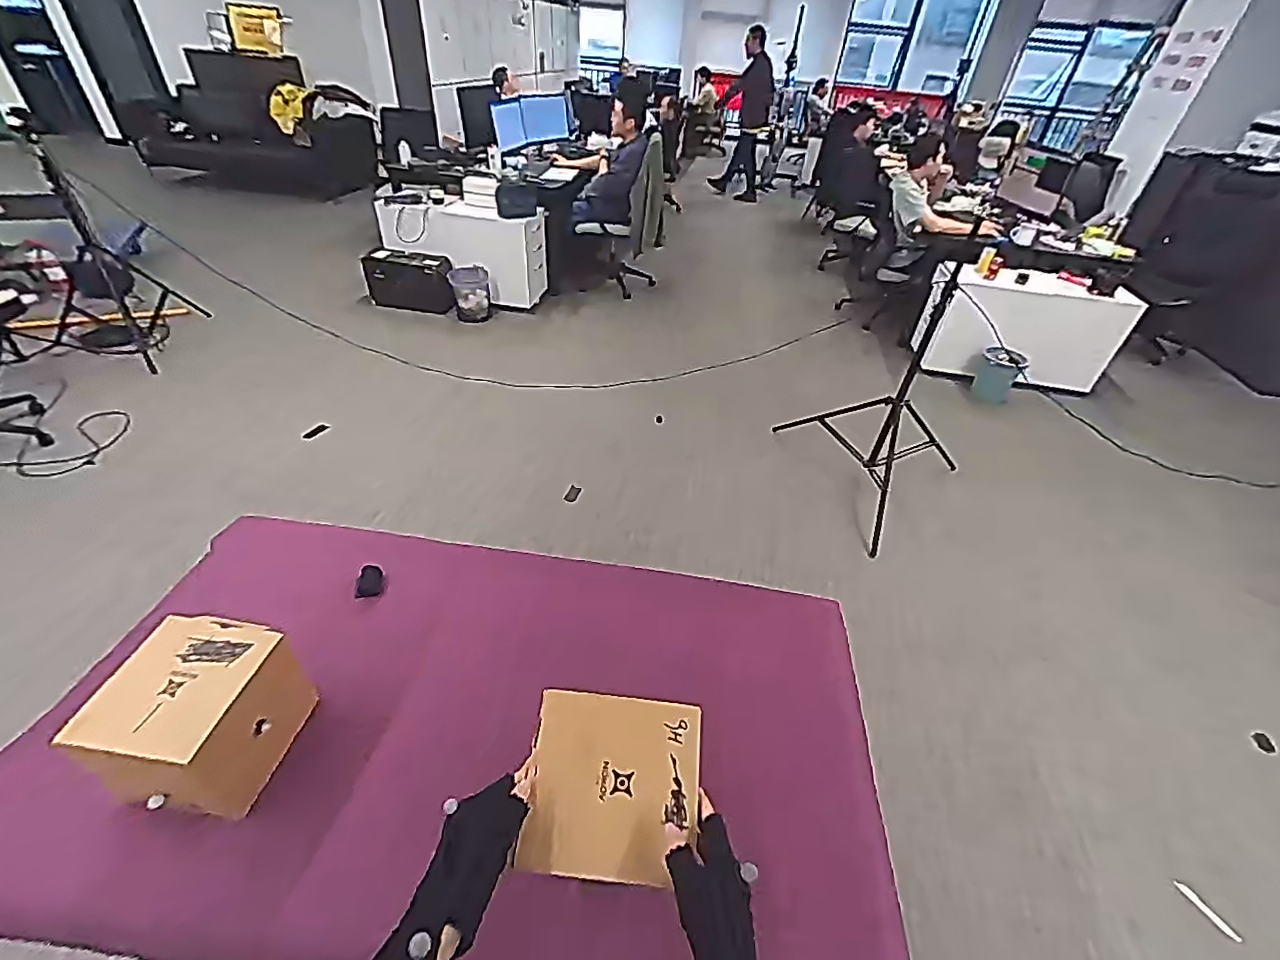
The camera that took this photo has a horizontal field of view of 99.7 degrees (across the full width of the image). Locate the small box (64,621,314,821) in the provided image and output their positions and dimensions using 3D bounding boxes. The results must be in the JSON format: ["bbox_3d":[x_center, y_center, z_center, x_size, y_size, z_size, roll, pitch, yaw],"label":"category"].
[{"bbox_3d":[-0.573,0.320,0.724,0.168,0.176,0.179,8,40,3],"label":"small box"}]

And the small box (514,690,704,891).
[{"bbox_3d":[-0.028,0.351,0.608,0.179,0.176,0.168,6,54,0],"label":"small box"}]
